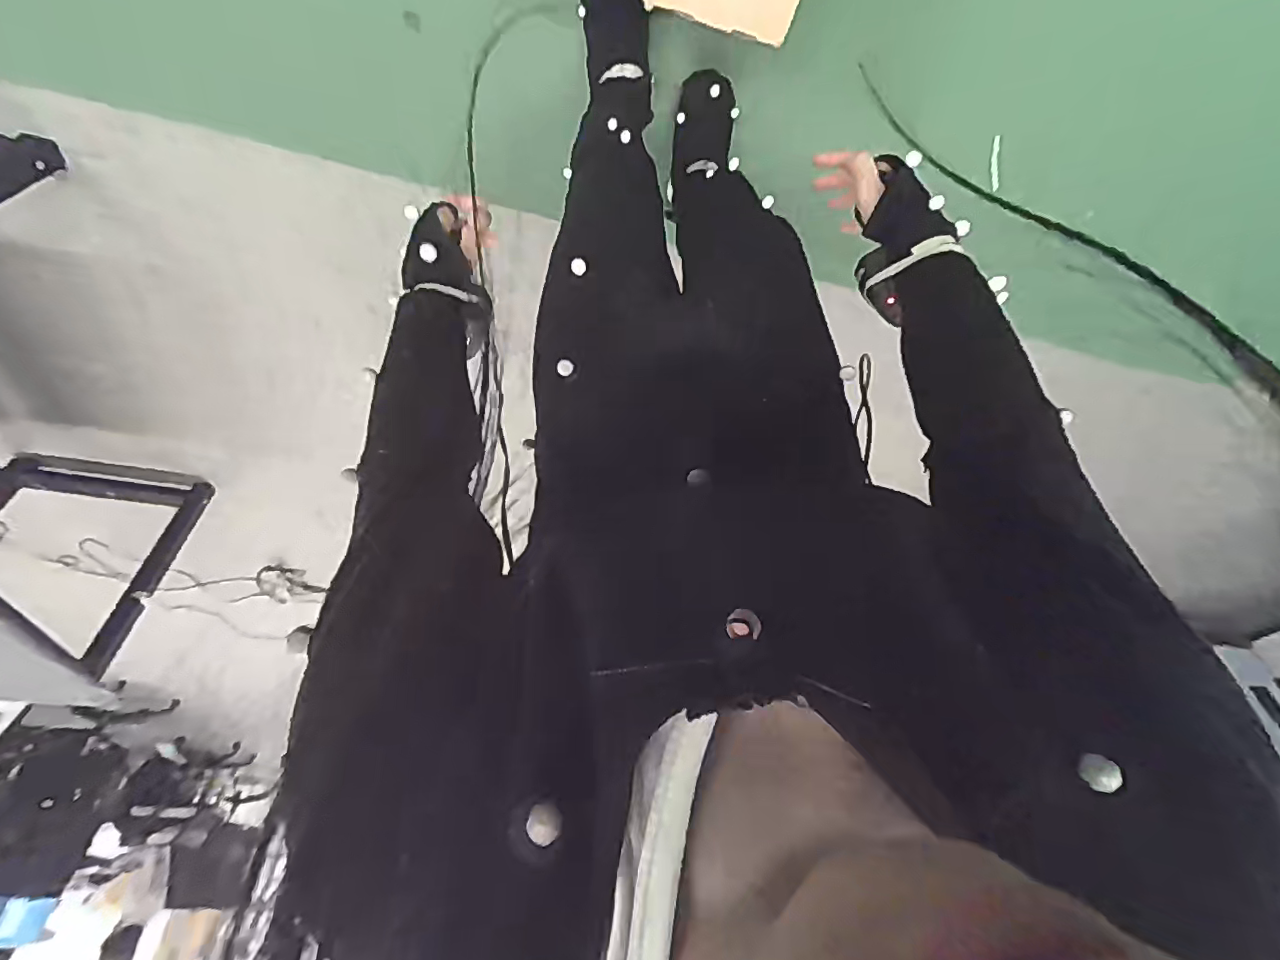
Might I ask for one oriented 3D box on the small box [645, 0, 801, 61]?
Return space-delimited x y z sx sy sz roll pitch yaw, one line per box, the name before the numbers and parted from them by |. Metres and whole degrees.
small box | 0.101 -0.607 0.594 0.168 0.176 0.179 9 138 -11
